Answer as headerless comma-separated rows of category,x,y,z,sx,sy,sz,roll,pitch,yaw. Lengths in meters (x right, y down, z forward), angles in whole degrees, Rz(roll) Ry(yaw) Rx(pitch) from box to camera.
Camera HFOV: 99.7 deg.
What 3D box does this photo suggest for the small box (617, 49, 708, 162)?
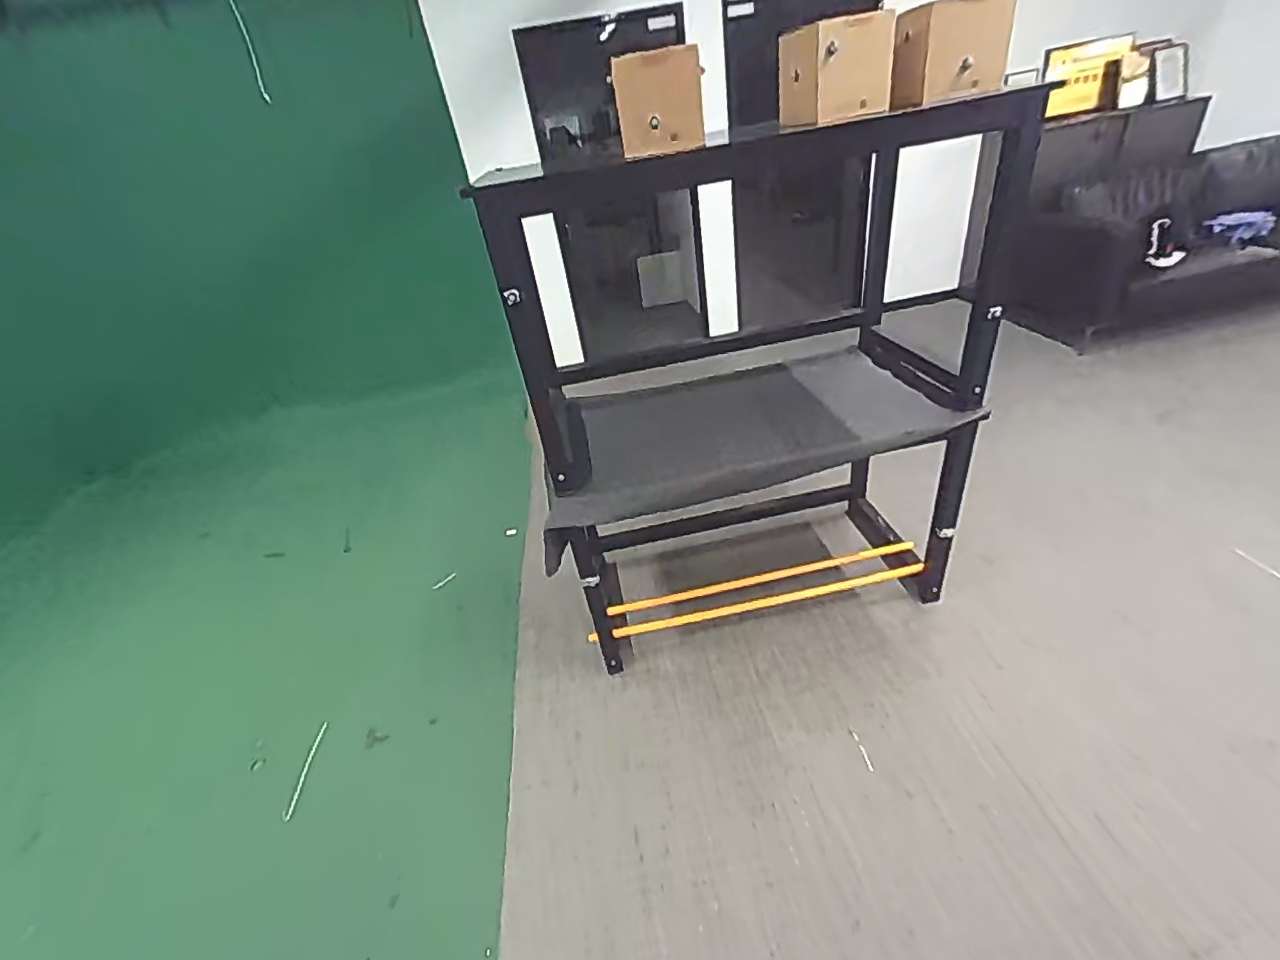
small box,0.048,-0.763,1.115,0.168,0.176,0.179,-7,33,4
